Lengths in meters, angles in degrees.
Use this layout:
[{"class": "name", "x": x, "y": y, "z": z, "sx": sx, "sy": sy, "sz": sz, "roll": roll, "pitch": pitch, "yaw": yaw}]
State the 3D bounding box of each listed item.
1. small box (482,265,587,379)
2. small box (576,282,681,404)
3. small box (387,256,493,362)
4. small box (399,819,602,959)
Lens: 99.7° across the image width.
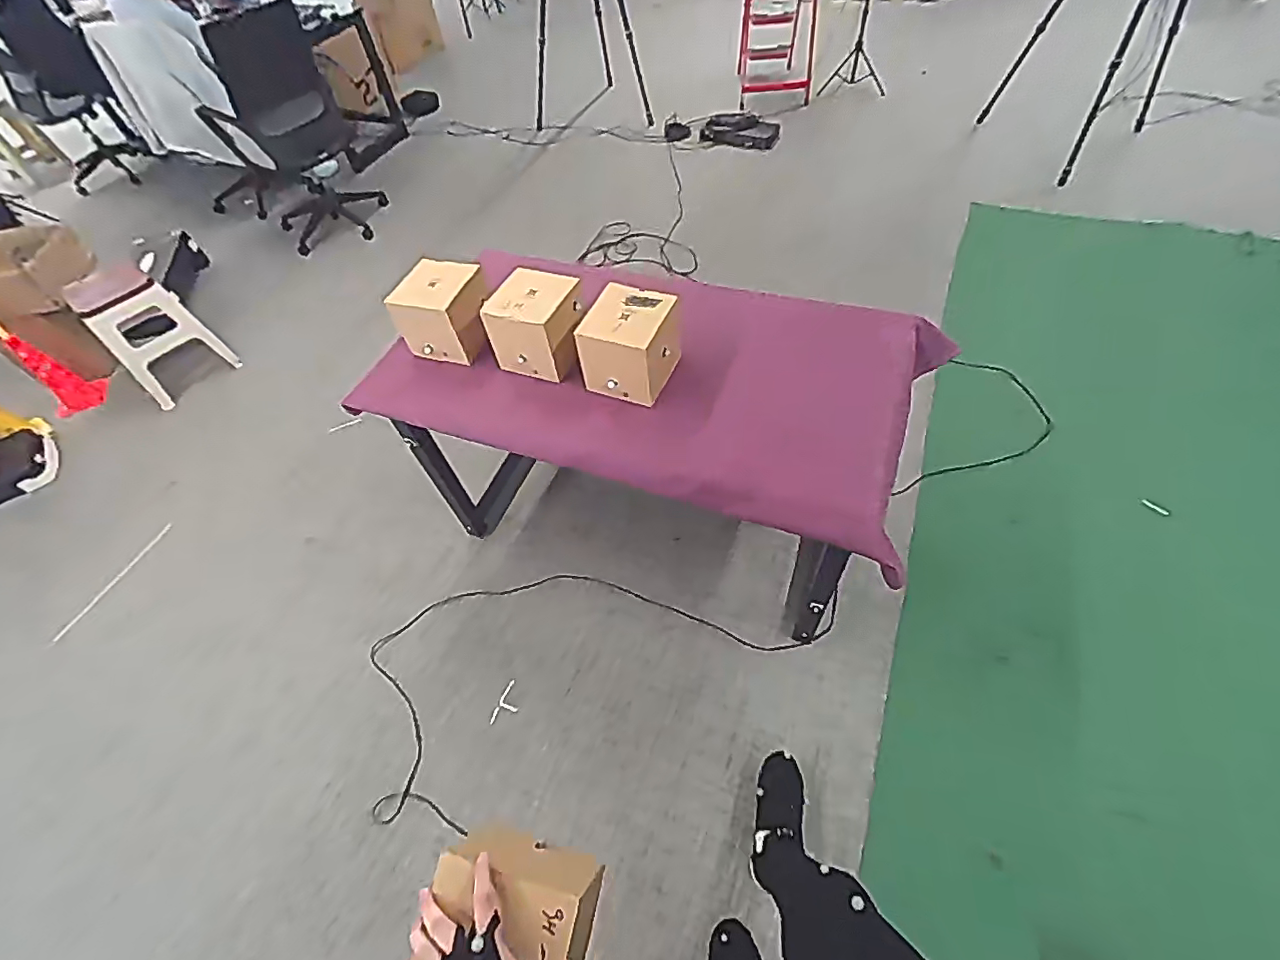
[{"class": "small box", "x": -0.232, "y": -0.366, "z": 1.255, "sx": 0.168, "sy": 0.176, "sz": 0.179, "roll": 17, "pitch": 58, "yaw": 17}, {"class": "small box", "x": -0.018, "y": -0.299, "z": 1.185, "sx": 0.168, "sy": 0.176, "sz": 0.179, "roll": 18, "pitch": 59, "yaw": 18}, {"class": "small box", "x": -0.468, "y": -0.416, "z": 1.318, "sx": 0.168, "sy": 0.176, "sz": 0.179, "roll": 12, "pitch": 57, "yaw": 15}, {"class": "small box", "x": -0.162, "y": 0.539, "z": 0.662, "sx": 0.179, "sy": 0.176, "sz": 0.168, "roll": 11, "pitch": 70, "yaw": 12}]
